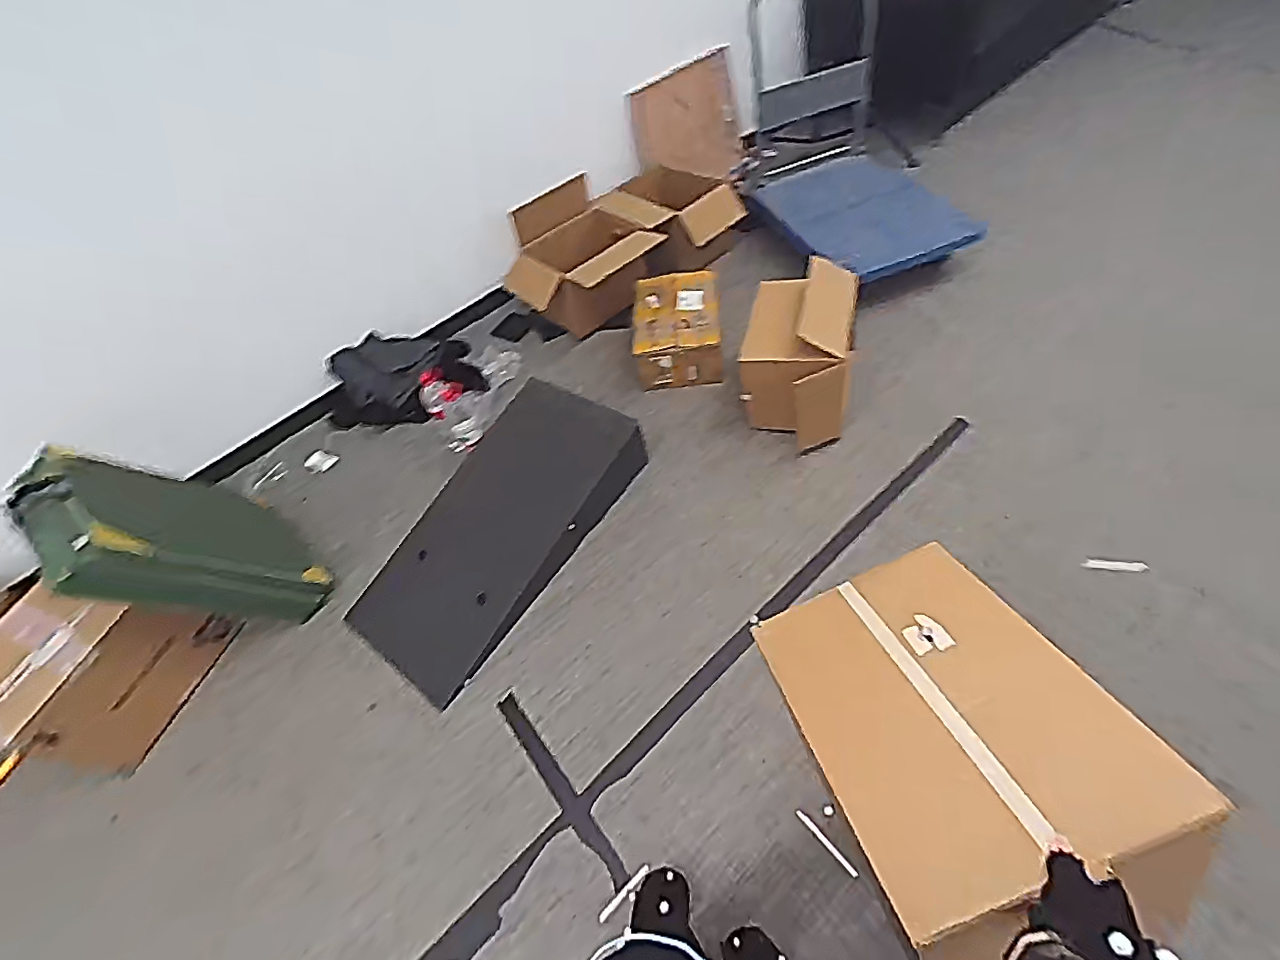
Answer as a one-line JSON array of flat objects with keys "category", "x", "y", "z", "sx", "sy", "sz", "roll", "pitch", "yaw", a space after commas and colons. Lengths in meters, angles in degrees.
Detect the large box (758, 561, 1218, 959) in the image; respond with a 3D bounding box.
[{"category": "large box", "x": 0.417, "y": 0.394, "z": 0.743, "sx": 0.320, "sy": 0.320, "sz": 0.408, "roll": -24, "pitch": 30, "yaw": 1}]
